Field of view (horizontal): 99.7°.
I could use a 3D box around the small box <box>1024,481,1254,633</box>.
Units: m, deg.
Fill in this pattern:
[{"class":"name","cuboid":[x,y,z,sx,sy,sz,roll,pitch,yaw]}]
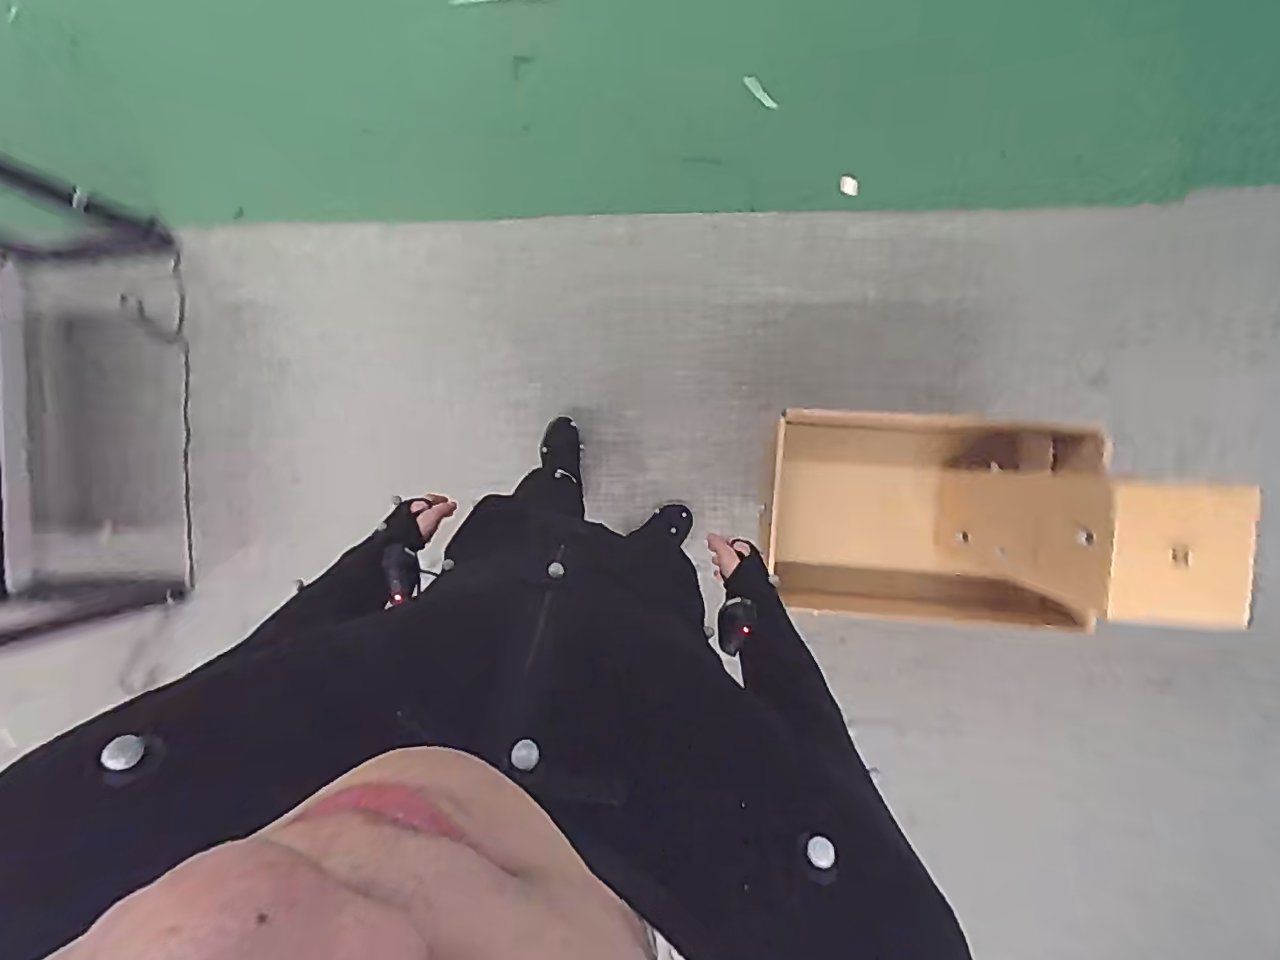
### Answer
[{"class":"small box","cuboid":[0.677,0.097,0.757,0.168,0.176,0.179,3,93,4]}]
